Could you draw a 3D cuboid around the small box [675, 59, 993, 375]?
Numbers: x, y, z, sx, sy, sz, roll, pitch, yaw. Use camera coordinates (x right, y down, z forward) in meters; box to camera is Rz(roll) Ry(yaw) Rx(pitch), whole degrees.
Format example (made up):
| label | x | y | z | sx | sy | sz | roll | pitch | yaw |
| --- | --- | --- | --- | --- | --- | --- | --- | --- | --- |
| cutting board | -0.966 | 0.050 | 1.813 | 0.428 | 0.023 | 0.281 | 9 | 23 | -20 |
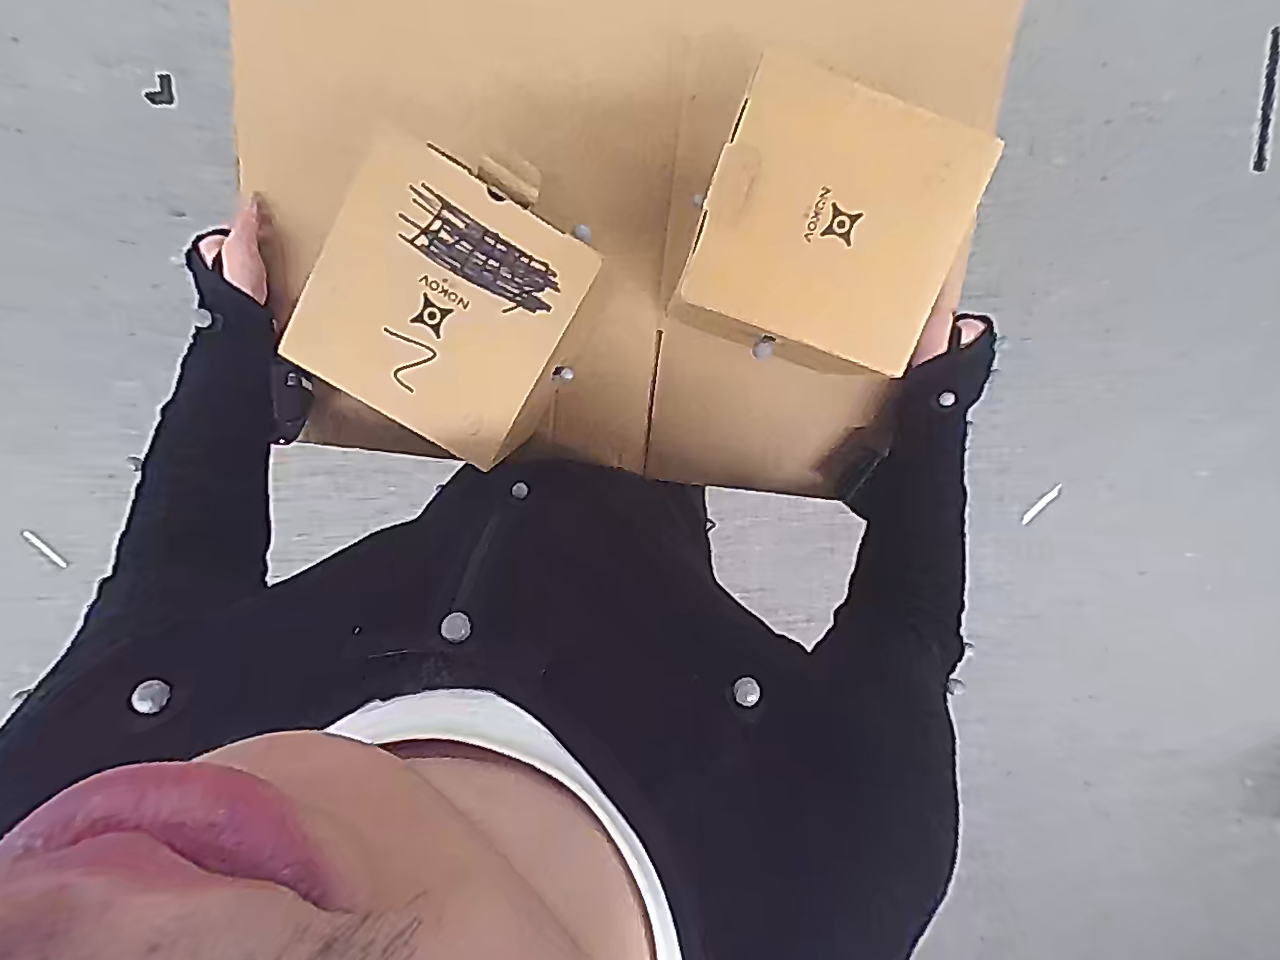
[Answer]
| label | x | y | z | sx | sy | sz | roll | pitch | yaw |
| --- | --- | --- | --- | --- | --- | --- | --- | --- | --- |
| small box | 0.139 | -0.200 | 0.462 | 0.179 | 0.176 | 0.168 | 19 | 102 | -2 |
